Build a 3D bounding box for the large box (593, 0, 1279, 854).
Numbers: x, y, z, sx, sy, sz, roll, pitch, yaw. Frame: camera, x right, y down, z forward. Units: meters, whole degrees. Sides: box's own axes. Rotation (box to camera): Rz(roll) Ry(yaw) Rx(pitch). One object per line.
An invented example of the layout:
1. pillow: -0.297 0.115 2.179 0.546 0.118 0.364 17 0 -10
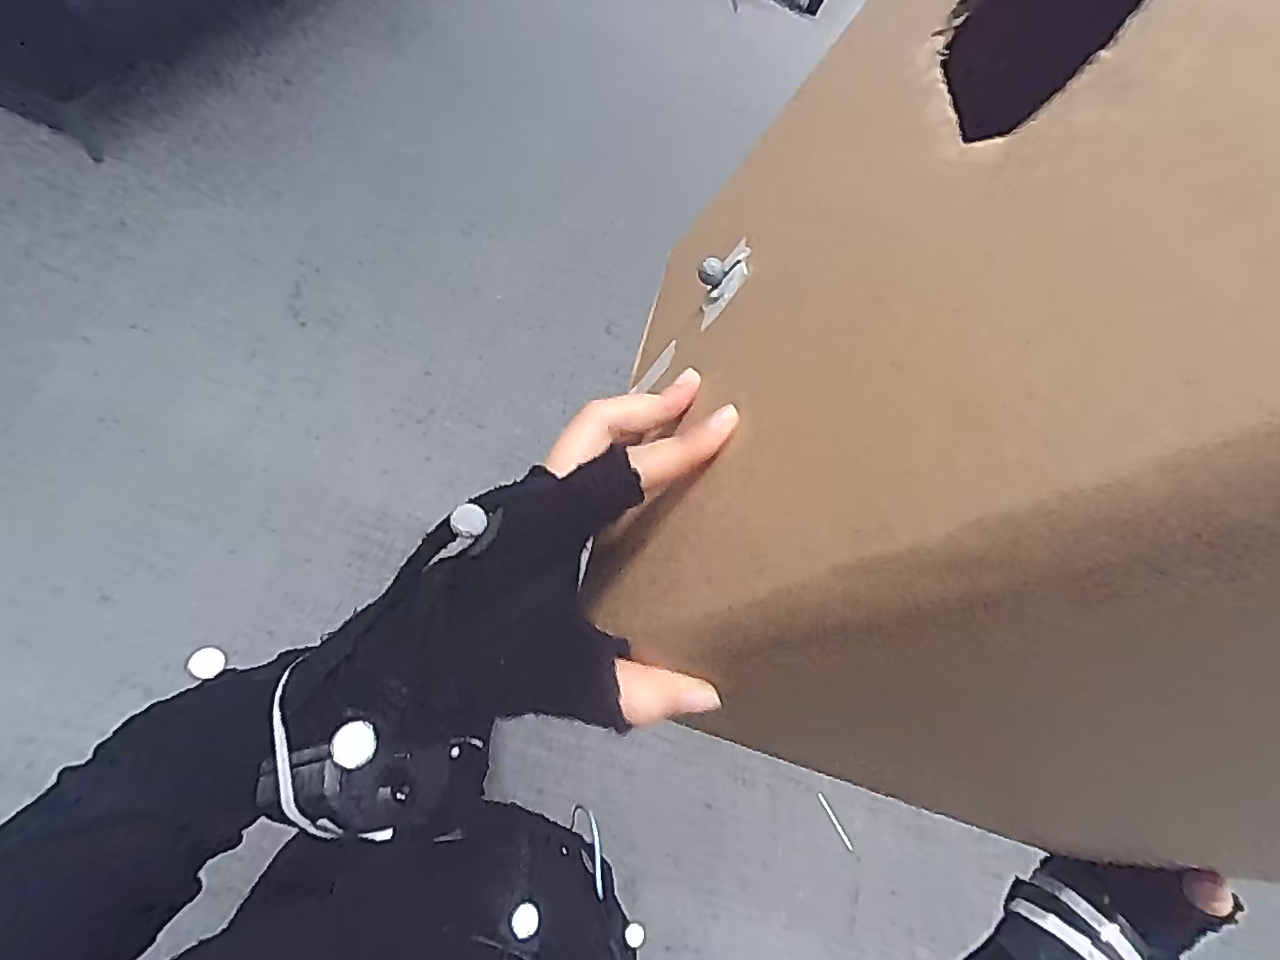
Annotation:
1. large box: 0.240 -0.016 0.282 0.408 0.320 0.320 28 54 -21
